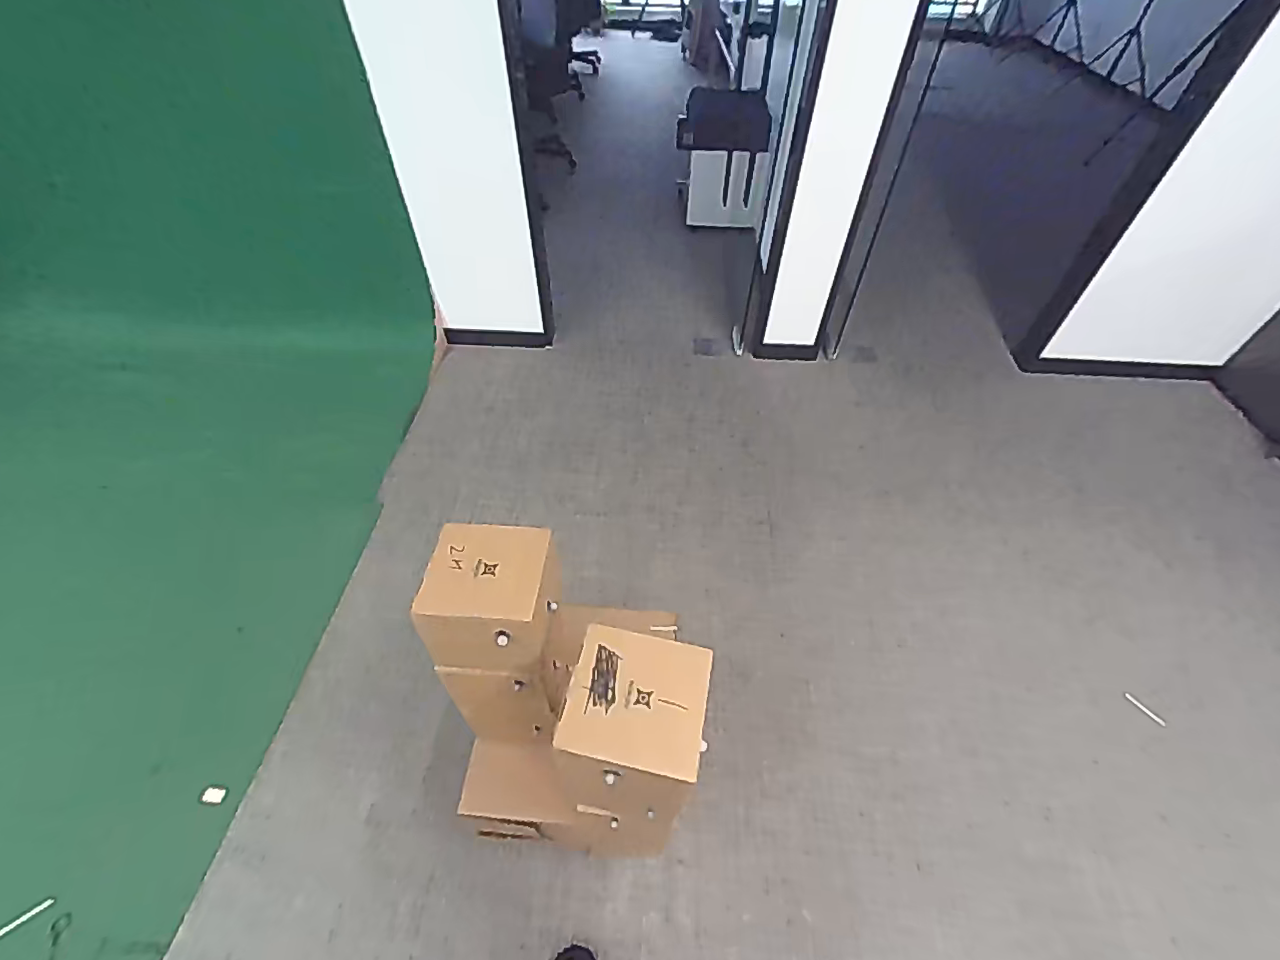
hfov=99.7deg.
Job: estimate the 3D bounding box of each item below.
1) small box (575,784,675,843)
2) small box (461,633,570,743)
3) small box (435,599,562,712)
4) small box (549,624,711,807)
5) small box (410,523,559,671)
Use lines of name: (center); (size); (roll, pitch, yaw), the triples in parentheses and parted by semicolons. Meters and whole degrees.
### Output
small box: (-0.018, 0.538, 0.992); (0.168, 0.176, 0.179); (7, 48, 4)
small box: (-0.240, 0.420, 1.099); (0.179, 0.176, 0.168); (1, 46, 1)
small box: (-0.244, 0.307, 0.982); (0.179, 0.176, 0.168); (3, 46, 0)
small box: (-0.010, 0.326, 0.741); (0.179, 0.176, 0.168); (11, 49, 6)
small box: (-0.232, 0.191, 0.865); (0.179, 0.176, 0.168); (4, 45, 2)
